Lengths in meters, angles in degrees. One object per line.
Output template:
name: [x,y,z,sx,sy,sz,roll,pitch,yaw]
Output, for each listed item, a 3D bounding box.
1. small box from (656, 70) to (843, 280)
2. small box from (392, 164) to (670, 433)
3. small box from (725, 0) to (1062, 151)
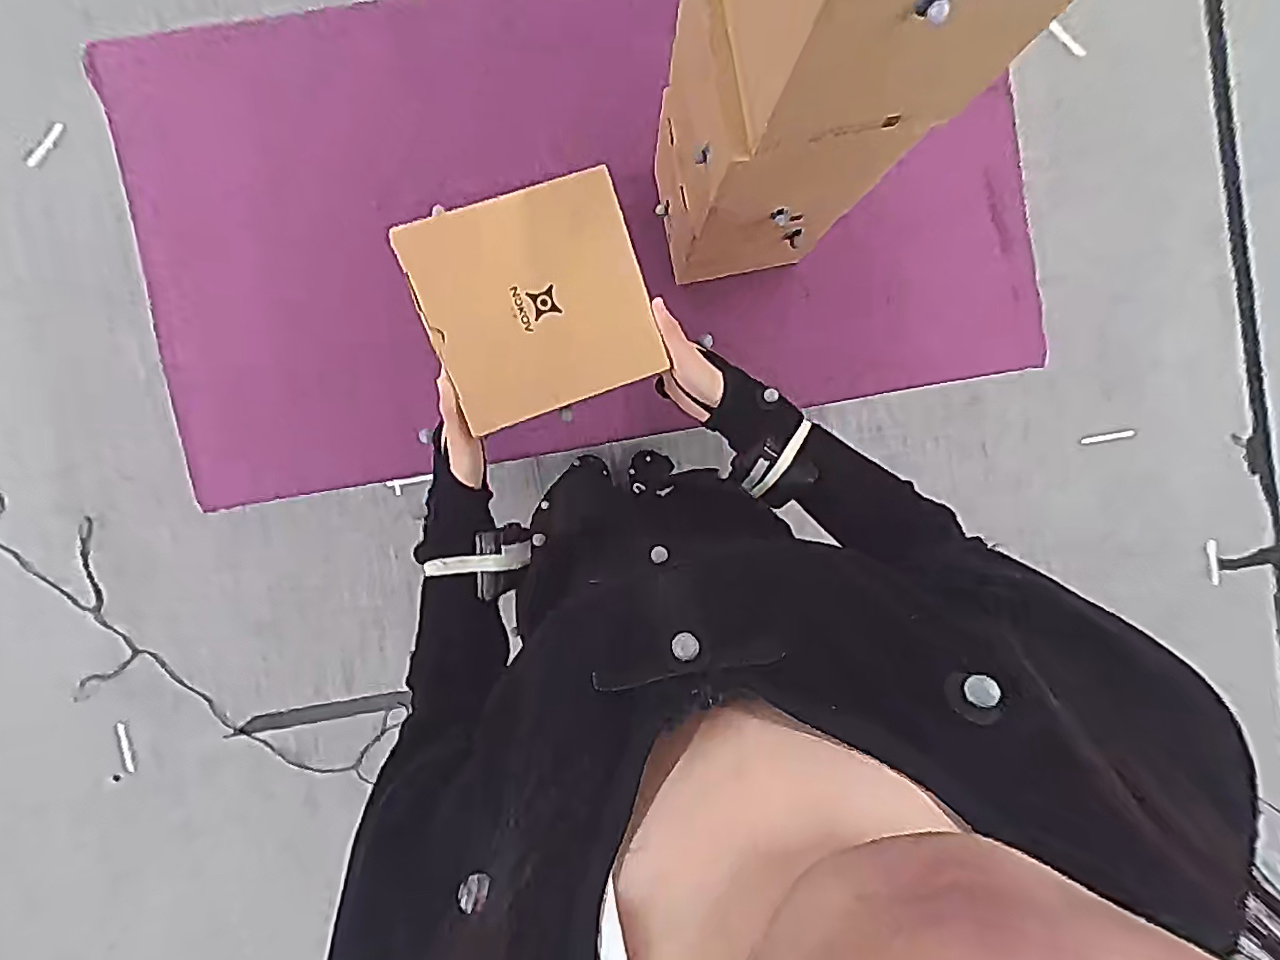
small box: [0.122,-0.365,0.665,0.179,0.176,0.168,-11,93,0]
small box: [-0.093,-0.157,0.503,0.179,0.176,0.168,-21,103,-5]
small box: [0.151,-0.350,0.338,0.168,0.176,0.179,-12,93,-1]
